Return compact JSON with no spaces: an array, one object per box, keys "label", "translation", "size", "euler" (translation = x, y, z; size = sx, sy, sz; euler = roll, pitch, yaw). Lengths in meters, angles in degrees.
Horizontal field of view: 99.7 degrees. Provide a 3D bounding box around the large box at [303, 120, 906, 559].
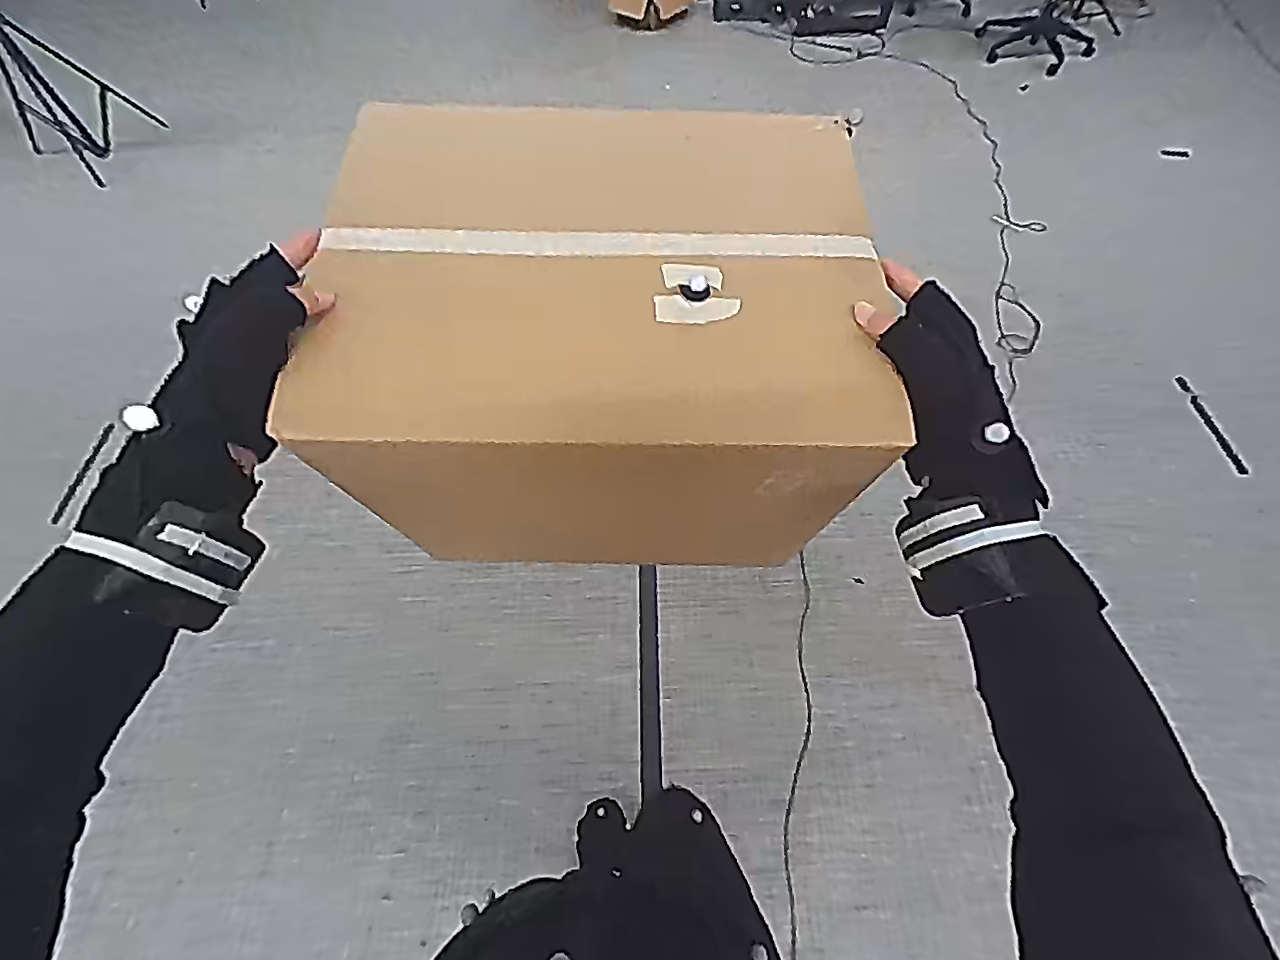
[{"label":"large box","translation":[-0.027,-0.108,0.546],"size":[0.408,0.320,0.320],"euler":[1,68,-2]}]
